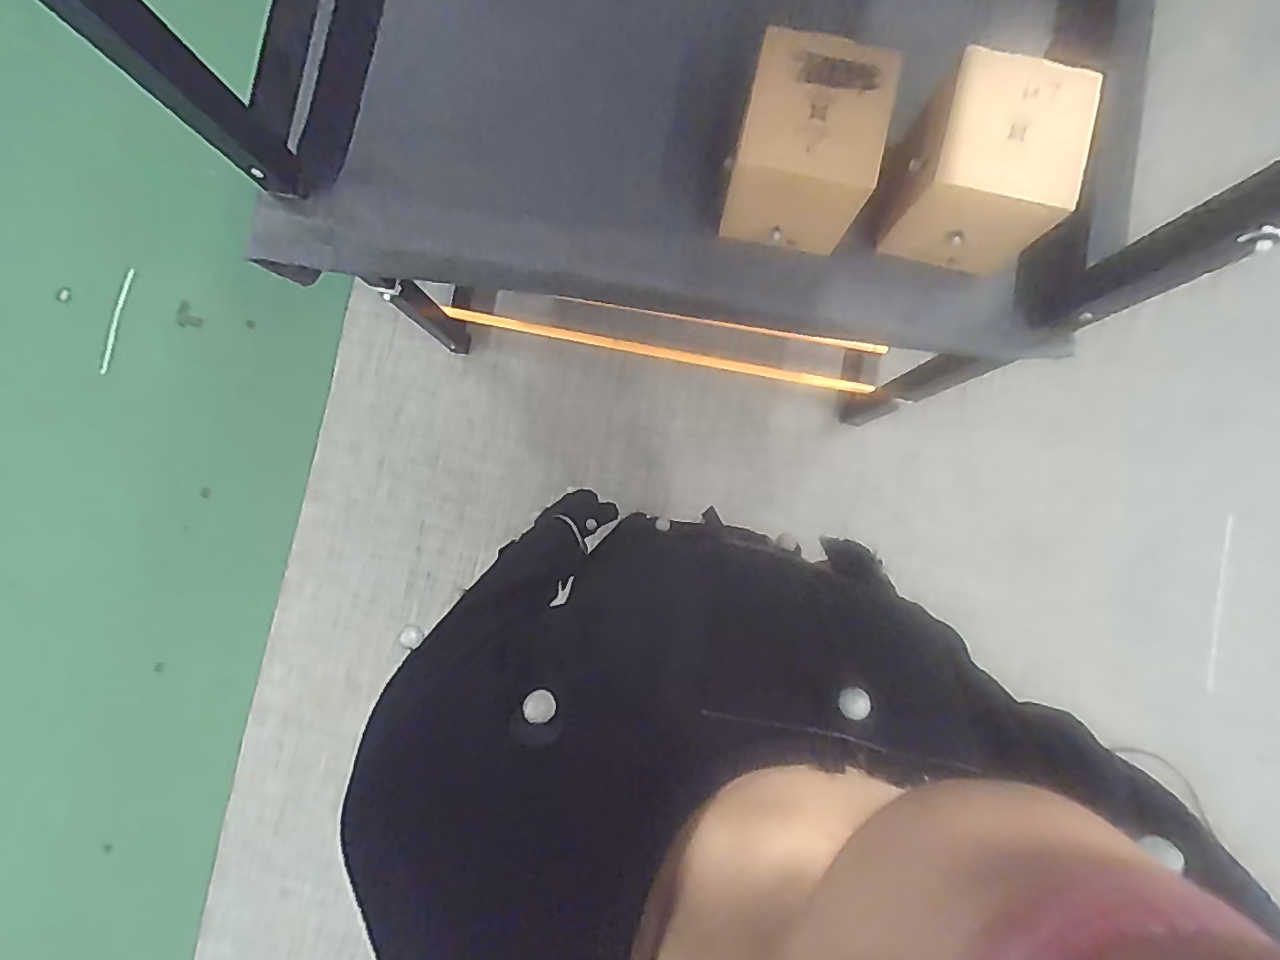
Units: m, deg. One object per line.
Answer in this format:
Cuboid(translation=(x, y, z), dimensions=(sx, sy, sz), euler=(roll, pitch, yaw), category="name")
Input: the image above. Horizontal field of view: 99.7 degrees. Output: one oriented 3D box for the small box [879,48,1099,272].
Cuboid(translation=(0.437, -0.401, 0.708), dimensions=(0.168, 0.176, 0.179), euler=(14, 86, 2), category="small box")
